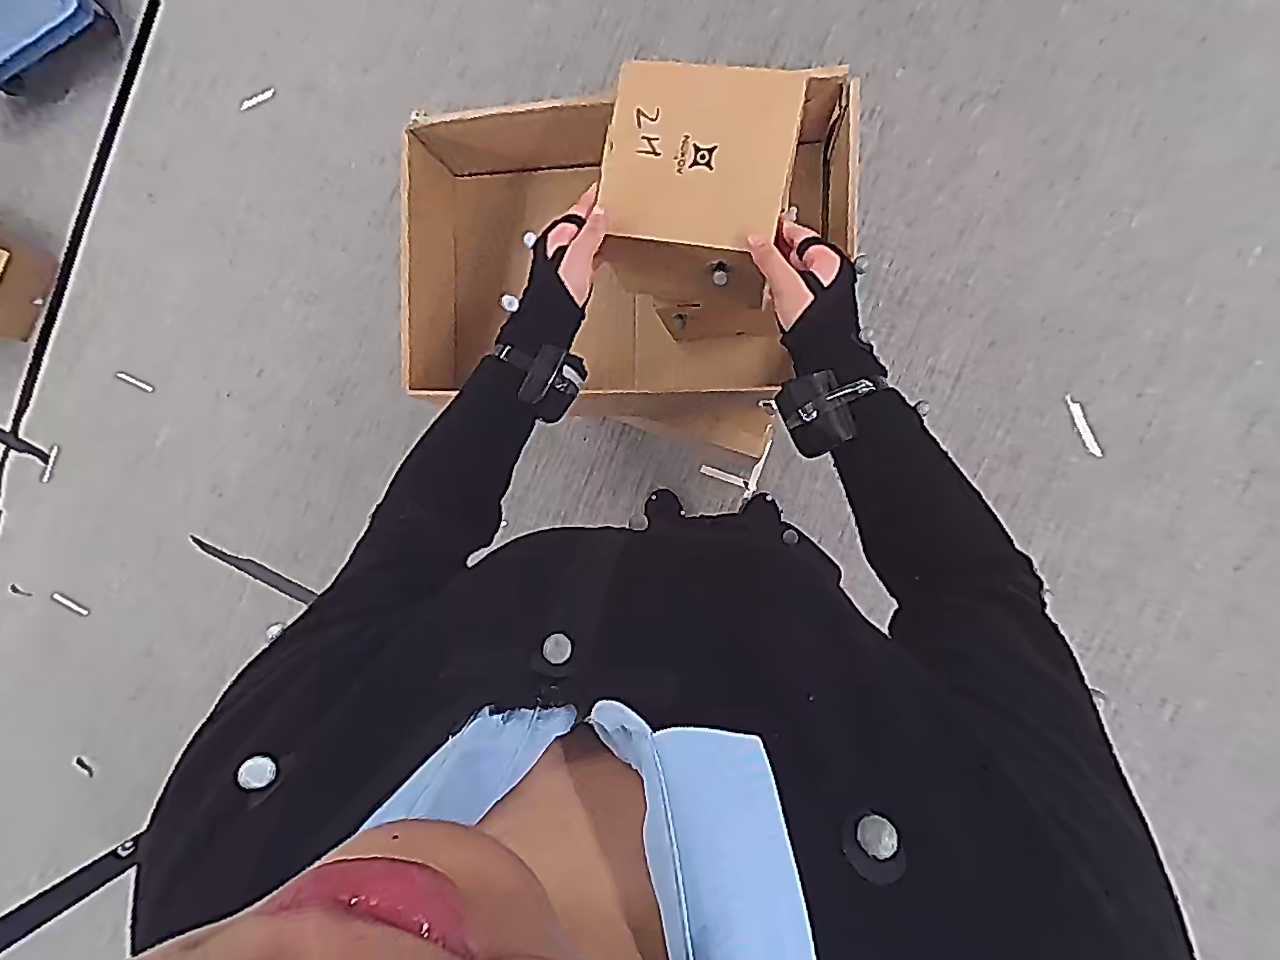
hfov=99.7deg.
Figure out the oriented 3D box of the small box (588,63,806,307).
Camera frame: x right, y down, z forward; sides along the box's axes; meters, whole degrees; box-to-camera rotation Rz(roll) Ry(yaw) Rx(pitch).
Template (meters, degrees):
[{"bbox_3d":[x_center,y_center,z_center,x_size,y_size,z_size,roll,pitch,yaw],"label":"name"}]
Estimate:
[{"bbox_3d":[0.063,-0.296,0.578,0.179,0.176,0.168,11,91,10],"label":"small box"}]
